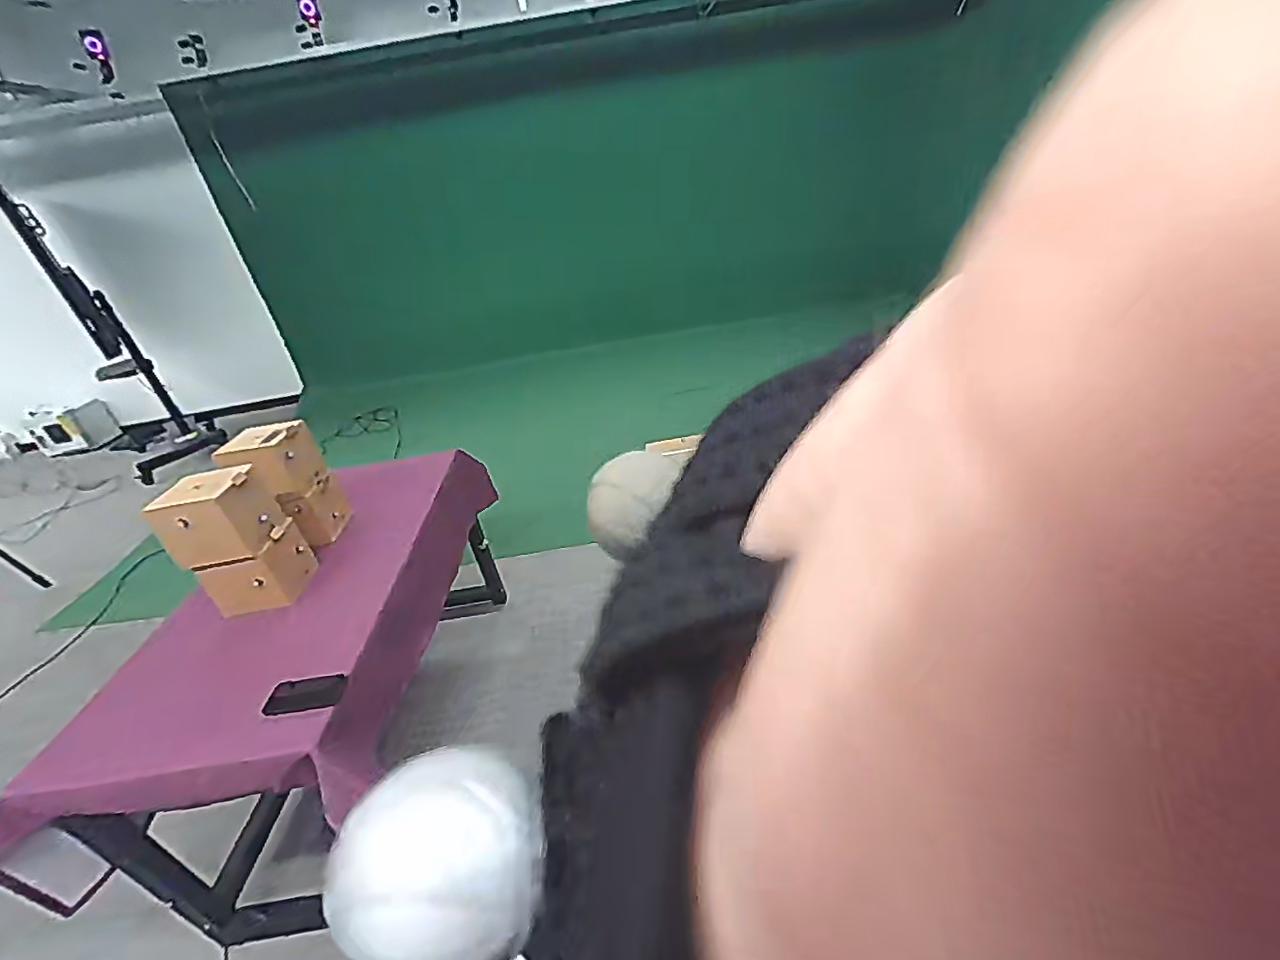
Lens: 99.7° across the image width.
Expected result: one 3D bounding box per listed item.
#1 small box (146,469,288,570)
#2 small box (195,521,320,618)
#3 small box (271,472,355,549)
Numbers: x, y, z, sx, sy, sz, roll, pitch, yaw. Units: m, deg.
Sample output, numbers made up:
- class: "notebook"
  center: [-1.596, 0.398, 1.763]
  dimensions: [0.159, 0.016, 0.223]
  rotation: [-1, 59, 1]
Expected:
- class: "small box"
  center: [-1.007, 0.097, 1.305]
  dimensions: [0.179, 0.176, 0.168]
  rotation: [-11, 30, 0]
- class: "small box"
  center: [-0.971, 0.231, 1.396]
  dimensions: [0.179, 0.176, 0.168]
  rotation: [-11, 30, 1]
- class: "small box"
  center: [-1.001, 0.100, 1.625]
  dimensions: [0.179, 0.176, 0.168]
  rotation: [-10, 30, 0]
